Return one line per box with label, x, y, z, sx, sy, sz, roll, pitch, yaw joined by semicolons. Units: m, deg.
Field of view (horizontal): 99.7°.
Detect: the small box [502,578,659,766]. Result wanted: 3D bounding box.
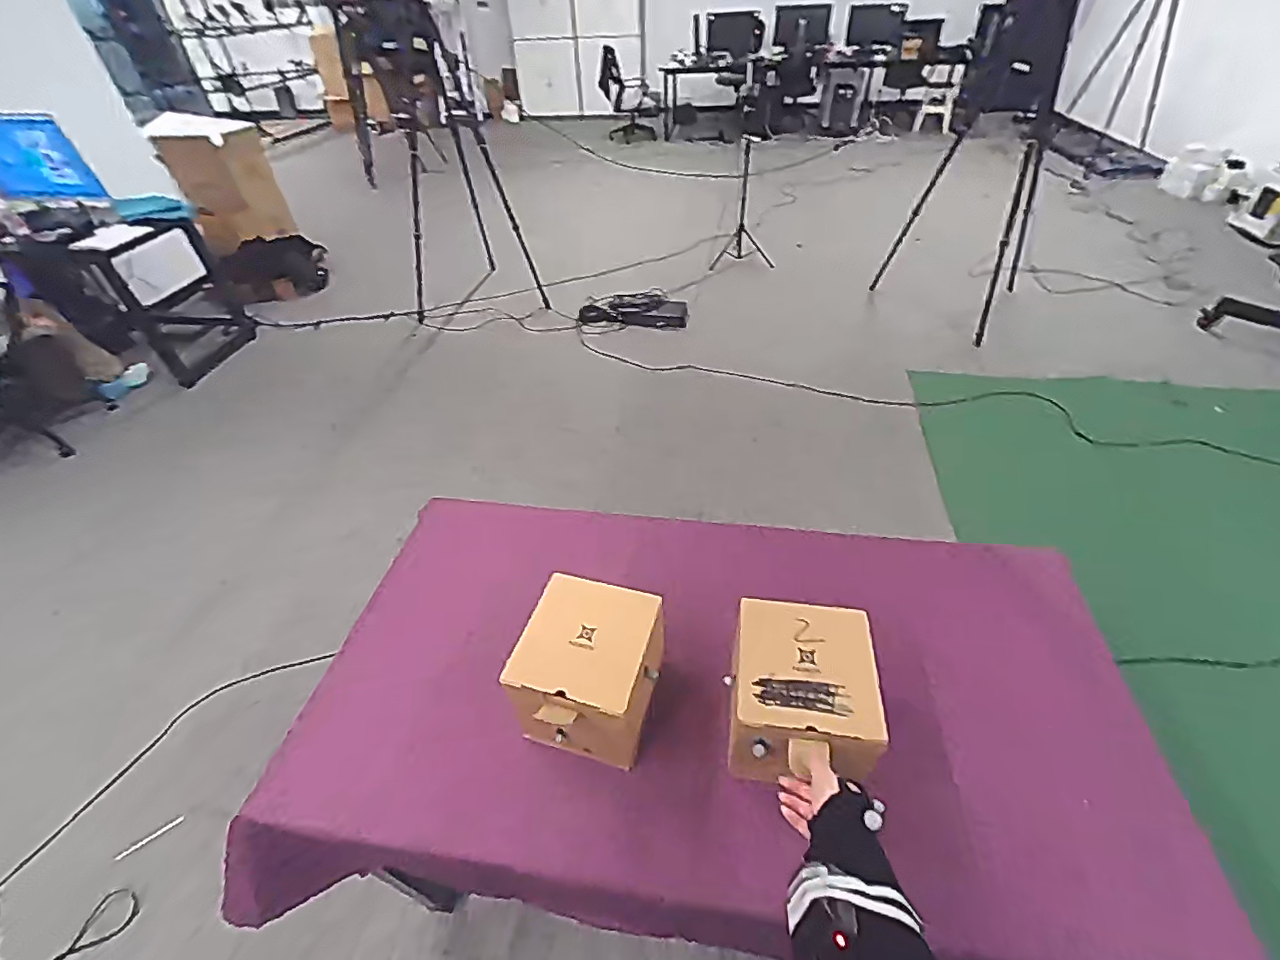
small box;-0.073;0.273;0.777;0.168;0.176;0.179;10;45;14
